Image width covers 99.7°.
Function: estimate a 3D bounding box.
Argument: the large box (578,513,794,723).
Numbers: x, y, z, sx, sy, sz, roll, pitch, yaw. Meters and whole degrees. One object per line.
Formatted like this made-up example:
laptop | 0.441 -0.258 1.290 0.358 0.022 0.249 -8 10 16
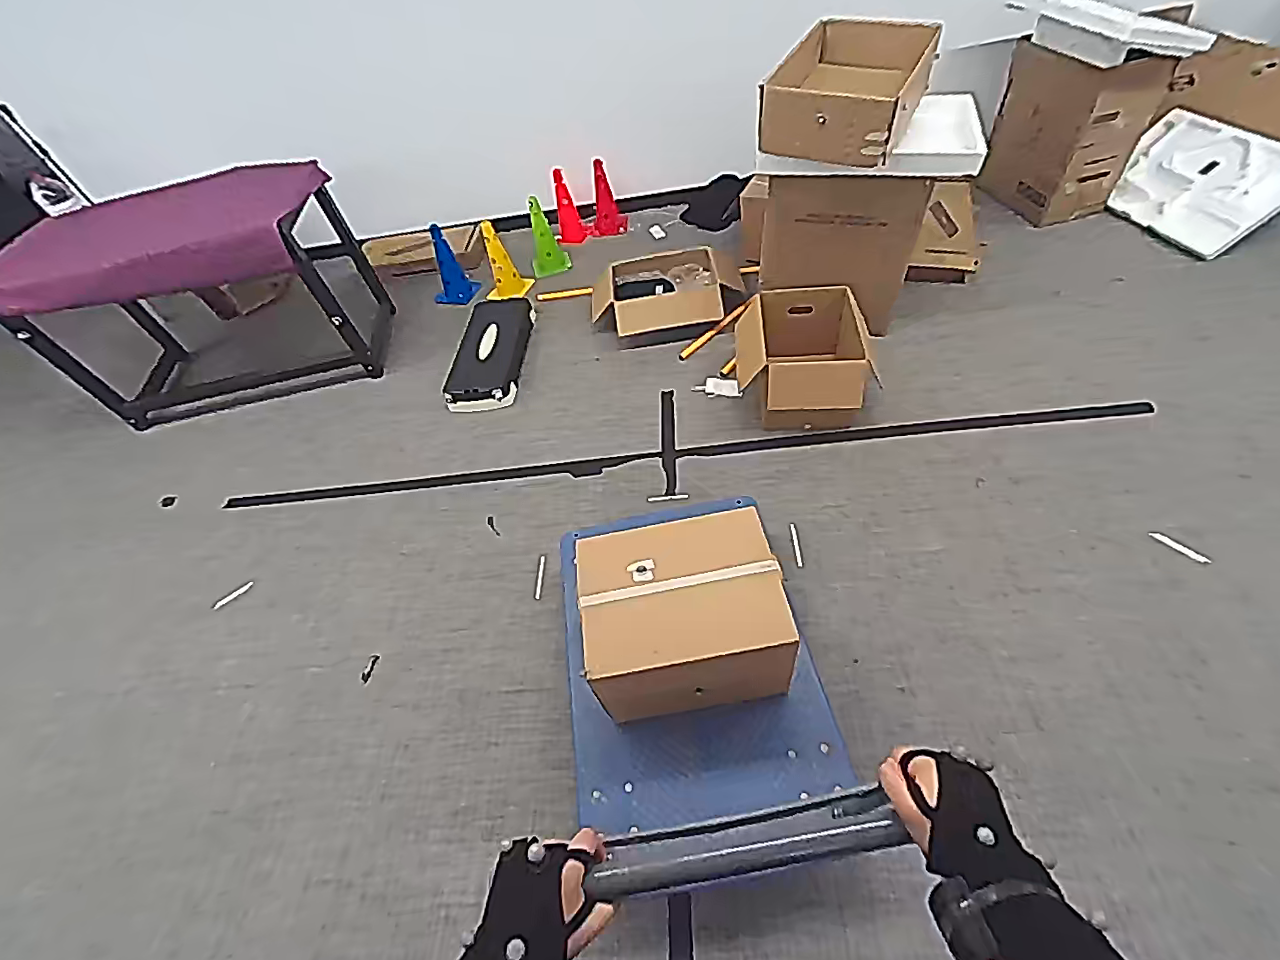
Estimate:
large box | 0.100 0.320 1.227 0.408 0.320 0.320 -12 50 2
